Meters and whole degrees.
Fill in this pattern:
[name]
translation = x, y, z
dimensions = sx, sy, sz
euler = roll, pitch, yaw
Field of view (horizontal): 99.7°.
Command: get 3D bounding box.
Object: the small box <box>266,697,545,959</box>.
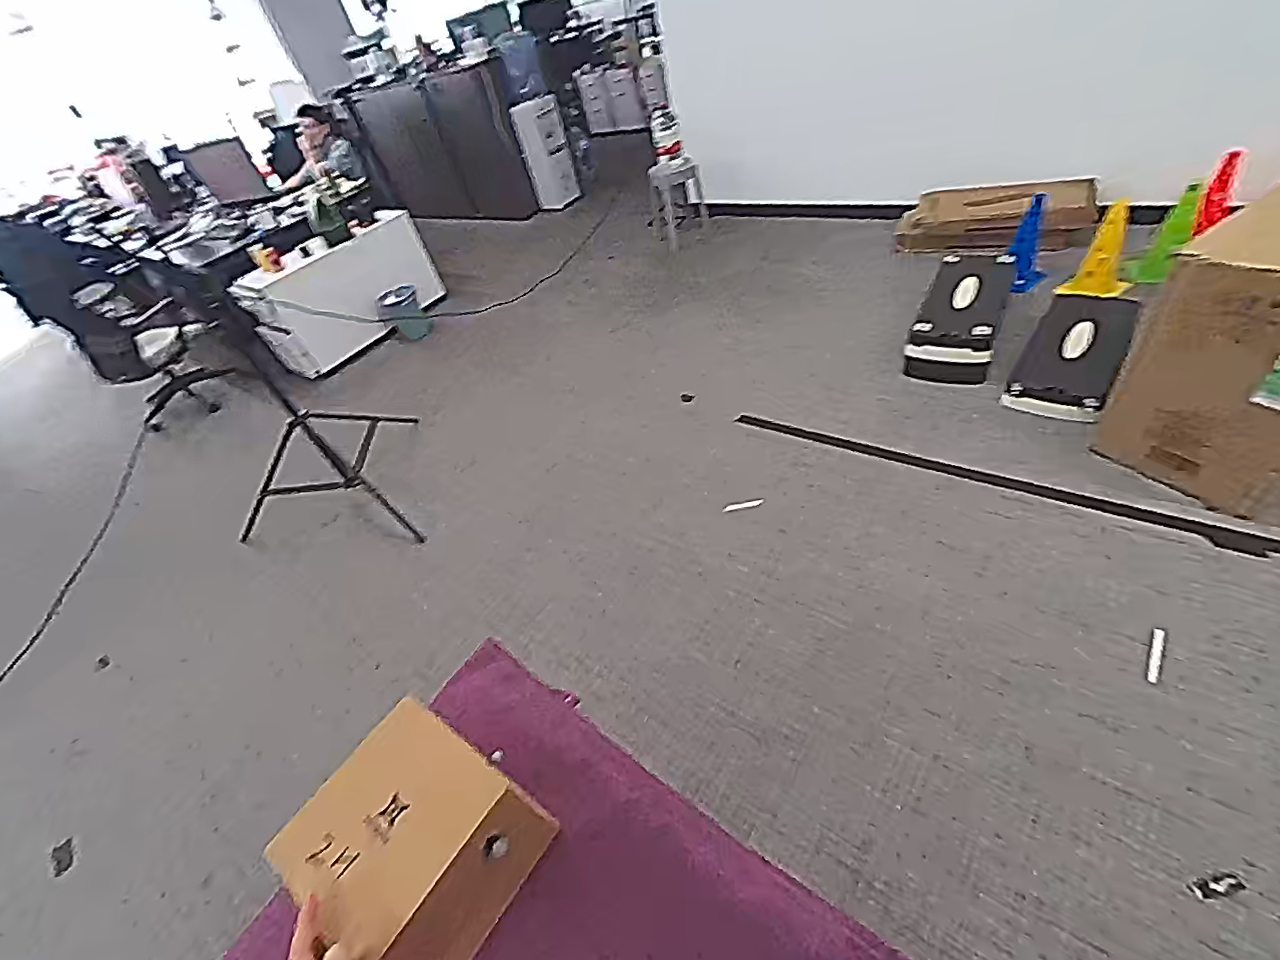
[small box]
translation = -0.219, 0.369, 0.555
dimensions = 0.168, 0.176, 0.179
euler = 21, 55, 32
